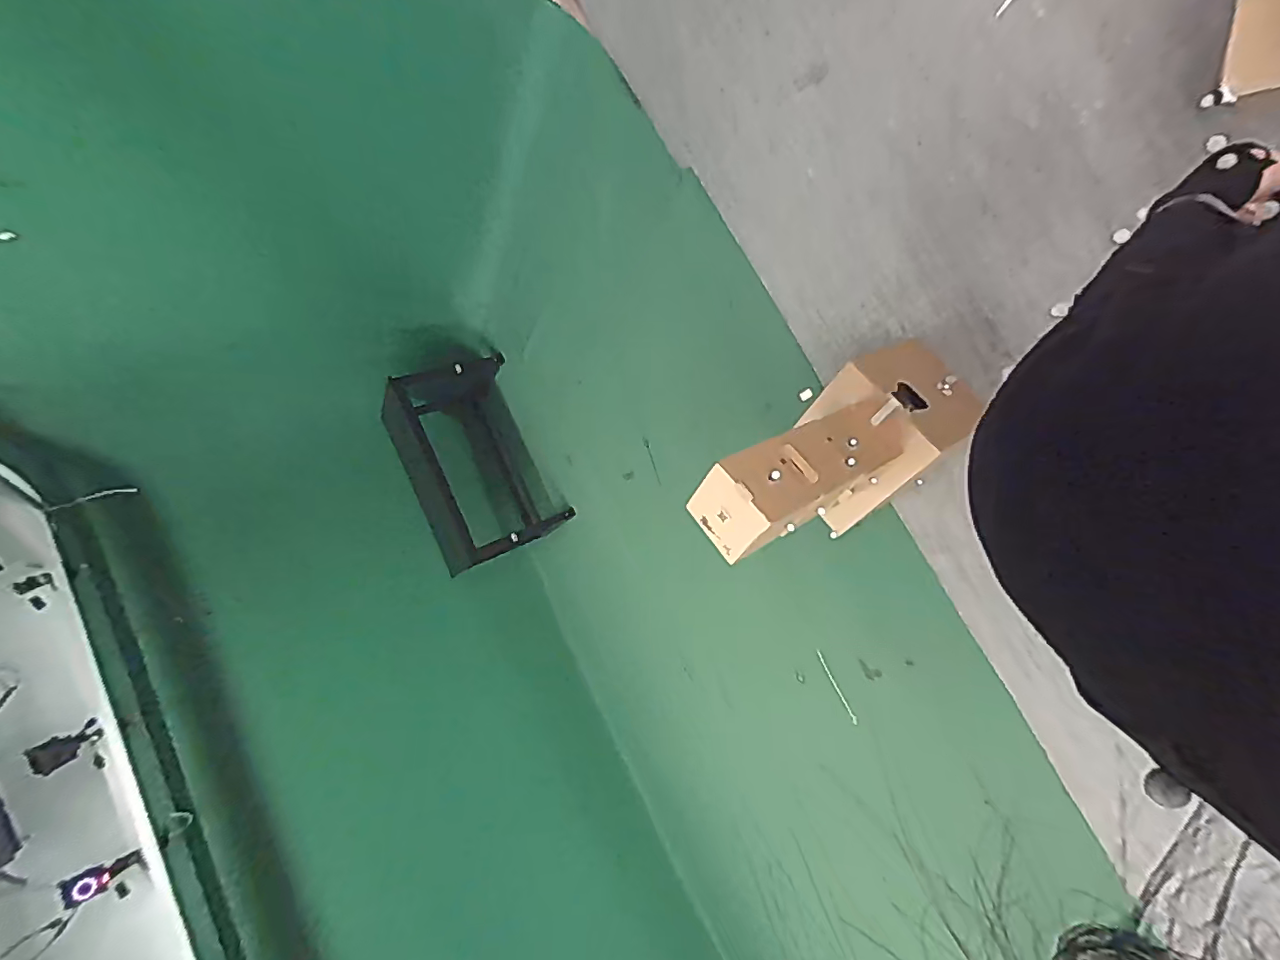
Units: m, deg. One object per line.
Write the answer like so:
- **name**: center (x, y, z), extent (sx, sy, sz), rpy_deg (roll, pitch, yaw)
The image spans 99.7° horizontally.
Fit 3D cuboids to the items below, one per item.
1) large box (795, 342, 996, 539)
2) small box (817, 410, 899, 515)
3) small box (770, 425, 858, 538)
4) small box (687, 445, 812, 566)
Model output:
- **large box**: center (0.663, -0.109, 1.501), extent (0.320, 0.320, 0.408), rpy_deg (55, 146, 21)
- **small box**: center (0.493, -0.048, 1.331), extent (0.179, 0.176, 0.168), rpy_deg (55, 144, 20)
- **small box**: center (0.366, -0.002, 1.239), extent (0.168, 0.176, 0.179), rpy_deg (54, 144, 21)
- **small box**: center (0.237, 0.049, 1.151), extent (0.168, 0.176, 0.179), rpy_deg (54, 143, 20)
